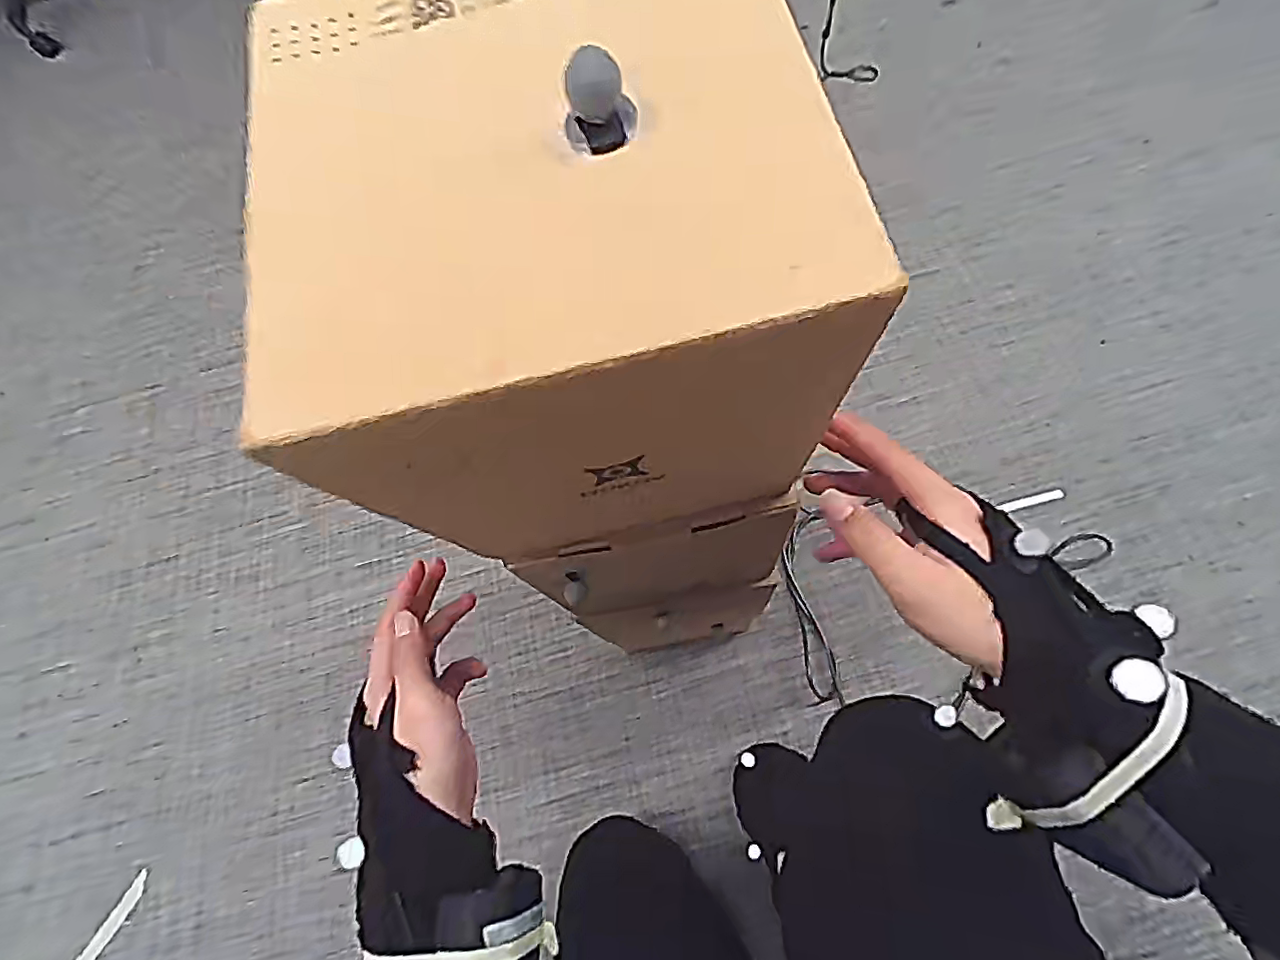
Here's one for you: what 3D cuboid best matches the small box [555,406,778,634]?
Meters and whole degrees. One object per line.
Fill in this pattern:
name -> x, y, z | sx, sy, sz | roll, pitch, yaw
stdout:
small box -> 0.025, 0.051, 0.540 | 0.179, 0.176, 0.168 | -10, 67, 2

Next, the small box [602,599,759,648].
small box -> 0.041, 0.112, 0.692 | 0.179, 0.176, 0.168 | -11, 66, 3
